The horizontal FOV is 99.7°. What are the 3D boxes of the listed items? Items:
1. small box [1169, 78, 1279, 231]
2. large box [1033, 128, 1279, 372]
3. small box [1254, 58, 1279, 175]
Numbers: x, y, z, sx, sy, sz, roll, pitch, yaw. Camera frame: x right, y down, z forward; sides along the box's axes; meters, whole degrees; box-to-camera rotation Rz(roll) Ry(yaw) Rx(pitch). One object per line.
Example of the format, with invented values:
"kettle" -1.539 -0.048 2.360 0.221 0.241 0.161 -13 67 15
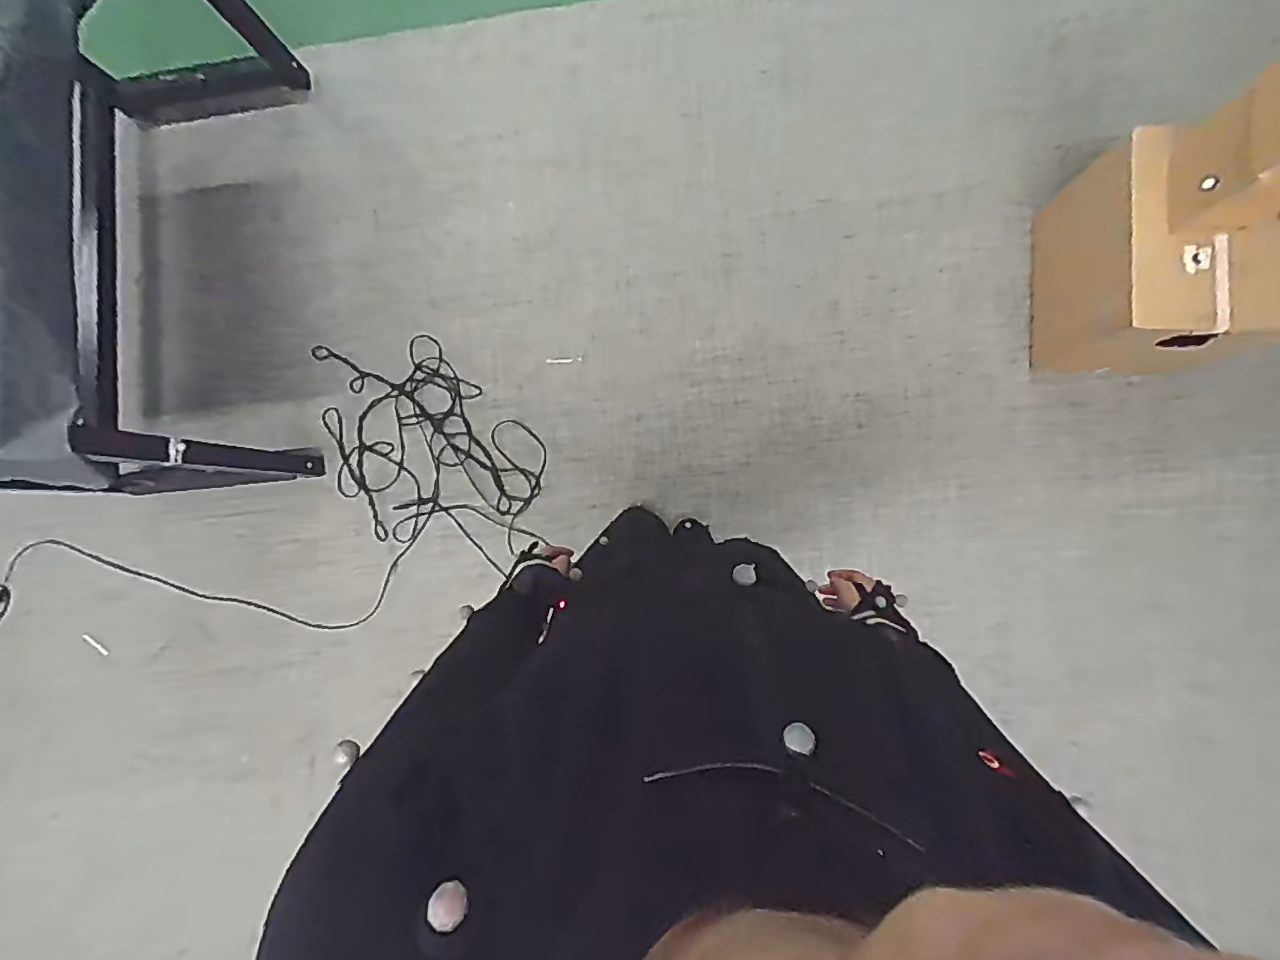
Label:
"small box" 1.074 -0.551 0.934 0.168 0.176 0.179 2 86 4
"large box" 1.107 -0.468 1.170 0.320 0.320 0.408 1 88 6
"small box" 1.052 -0.567 0.774 0.168 0.176 0.179 4 88 4
